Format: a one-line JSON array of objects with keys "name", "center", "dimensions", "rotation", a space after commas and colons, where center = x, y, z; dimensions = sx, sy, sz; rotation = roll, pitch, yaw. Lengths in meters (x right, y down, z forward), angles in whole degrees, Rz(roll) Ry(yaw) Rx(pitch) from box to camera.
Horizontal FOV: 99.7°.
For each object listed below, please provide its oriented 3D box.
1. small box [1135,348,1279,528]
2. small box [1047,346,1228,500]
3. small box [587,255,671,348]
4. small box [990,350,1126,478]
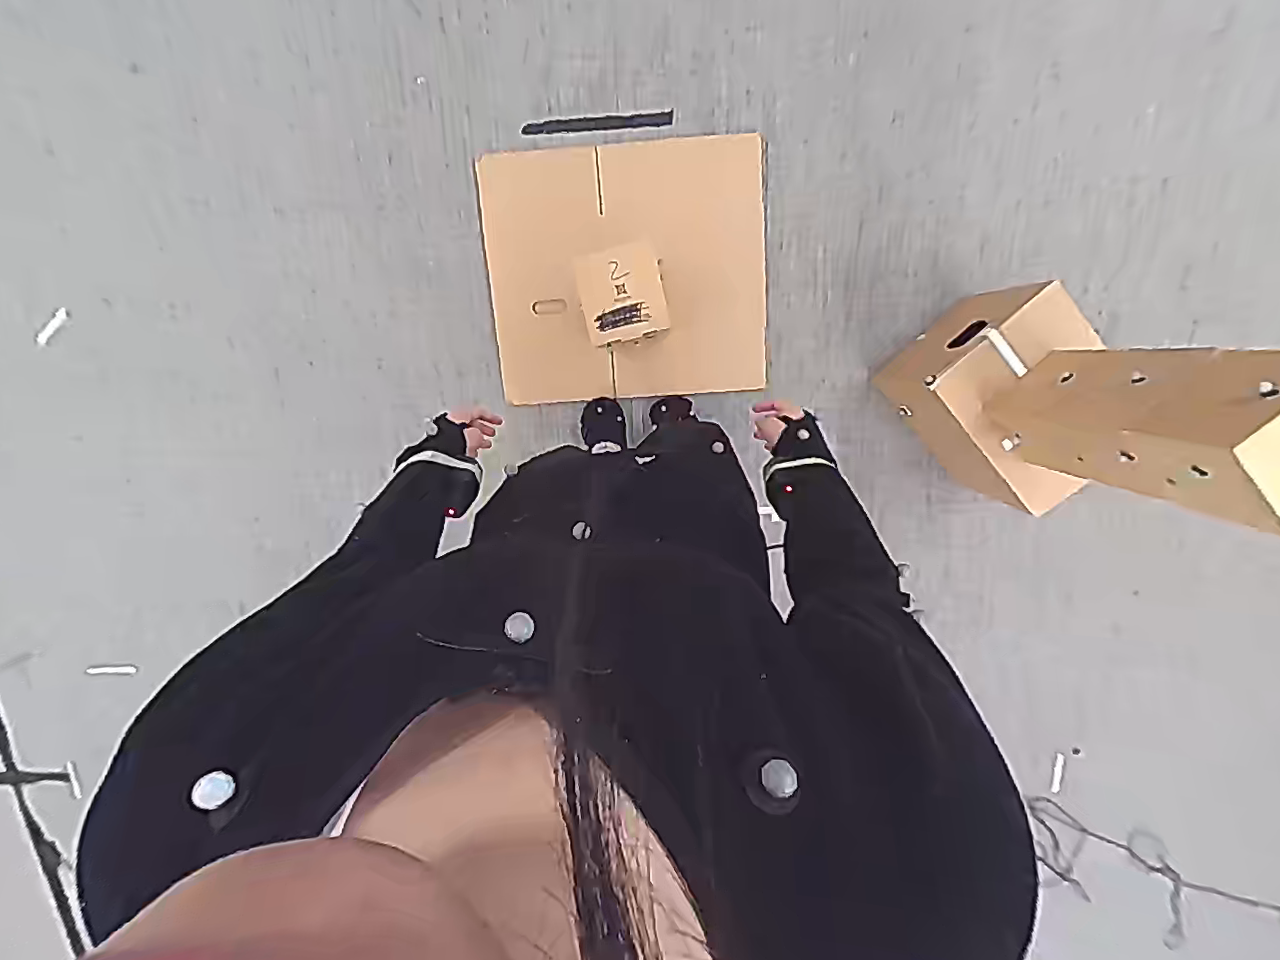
[{"name": "small box", "center": [0.831, -0.058, 0.725], "dimensions": [0.179, 0.176, 0.168], "rotation": [-43, 99, 9]}, {"name": "small box", "center": [0.833, -0.099, 0.883], "dimensions": [0.179, 0.176, 0.168], "rotation": [-42, 99, 9]}, {"name": "small box", "center": [-0.021, -0.421, 1.300], "dimensions": [0.168, 0.176, 0.179], "rotation": [-11, 103, 6]}, {"name": "small box", "center": [0.834, -0.134, 1.043], "dimensions": [0.179, 0.176, 0.168], "rotation": [-42, 99, 10]}]
